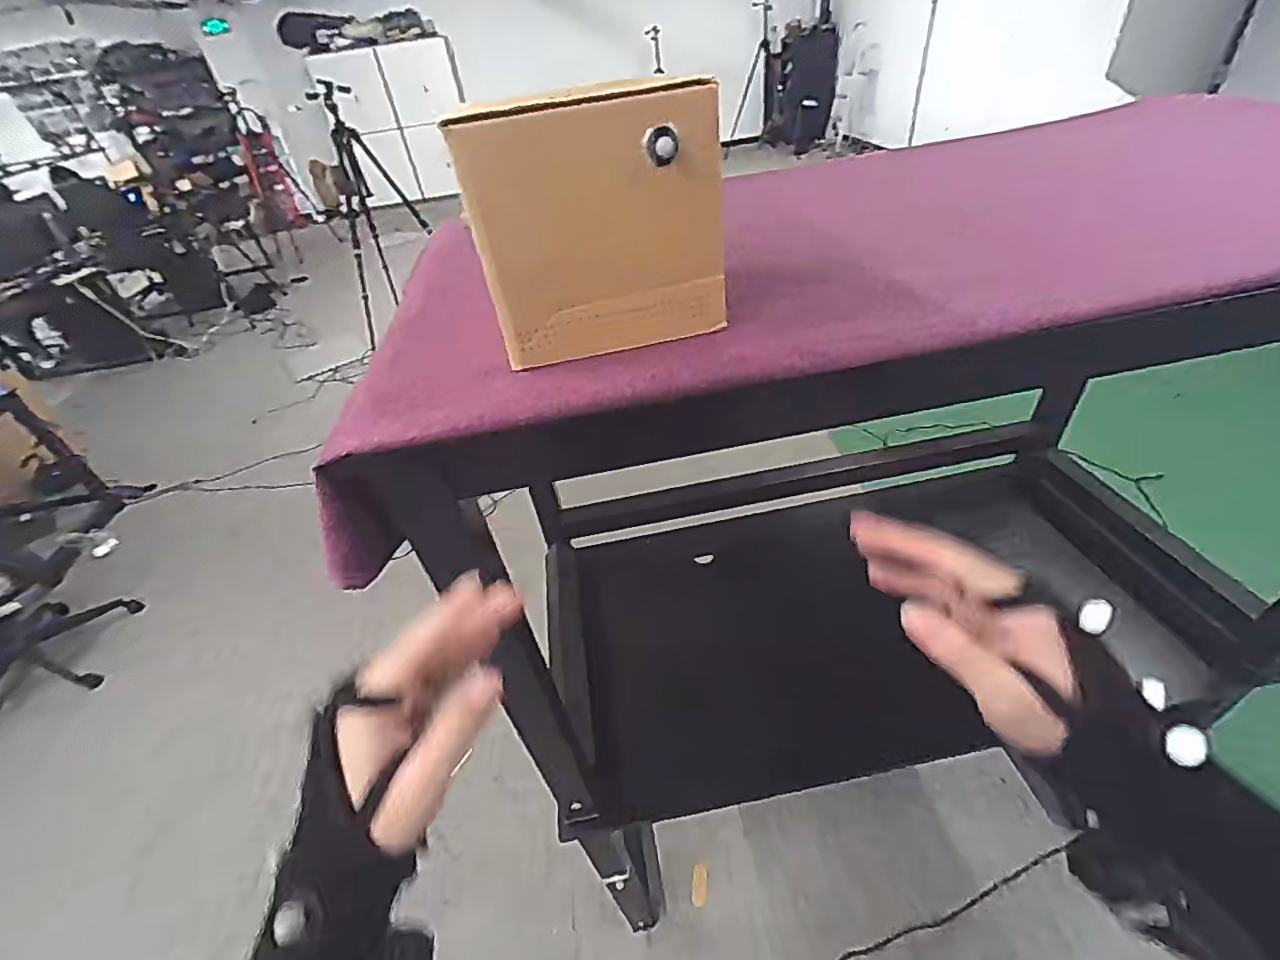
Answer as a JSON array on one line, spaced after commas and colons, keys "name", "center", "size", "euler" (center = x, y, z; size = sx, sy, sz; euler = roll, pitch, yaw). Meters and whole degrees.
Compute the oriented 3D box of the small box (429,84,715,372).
[{"name": "small box", "center": [-0.047, -0.205, 0.441], "size": [0.179, 0.176, 0.168], "euler": [-13, 39, -4]}]
